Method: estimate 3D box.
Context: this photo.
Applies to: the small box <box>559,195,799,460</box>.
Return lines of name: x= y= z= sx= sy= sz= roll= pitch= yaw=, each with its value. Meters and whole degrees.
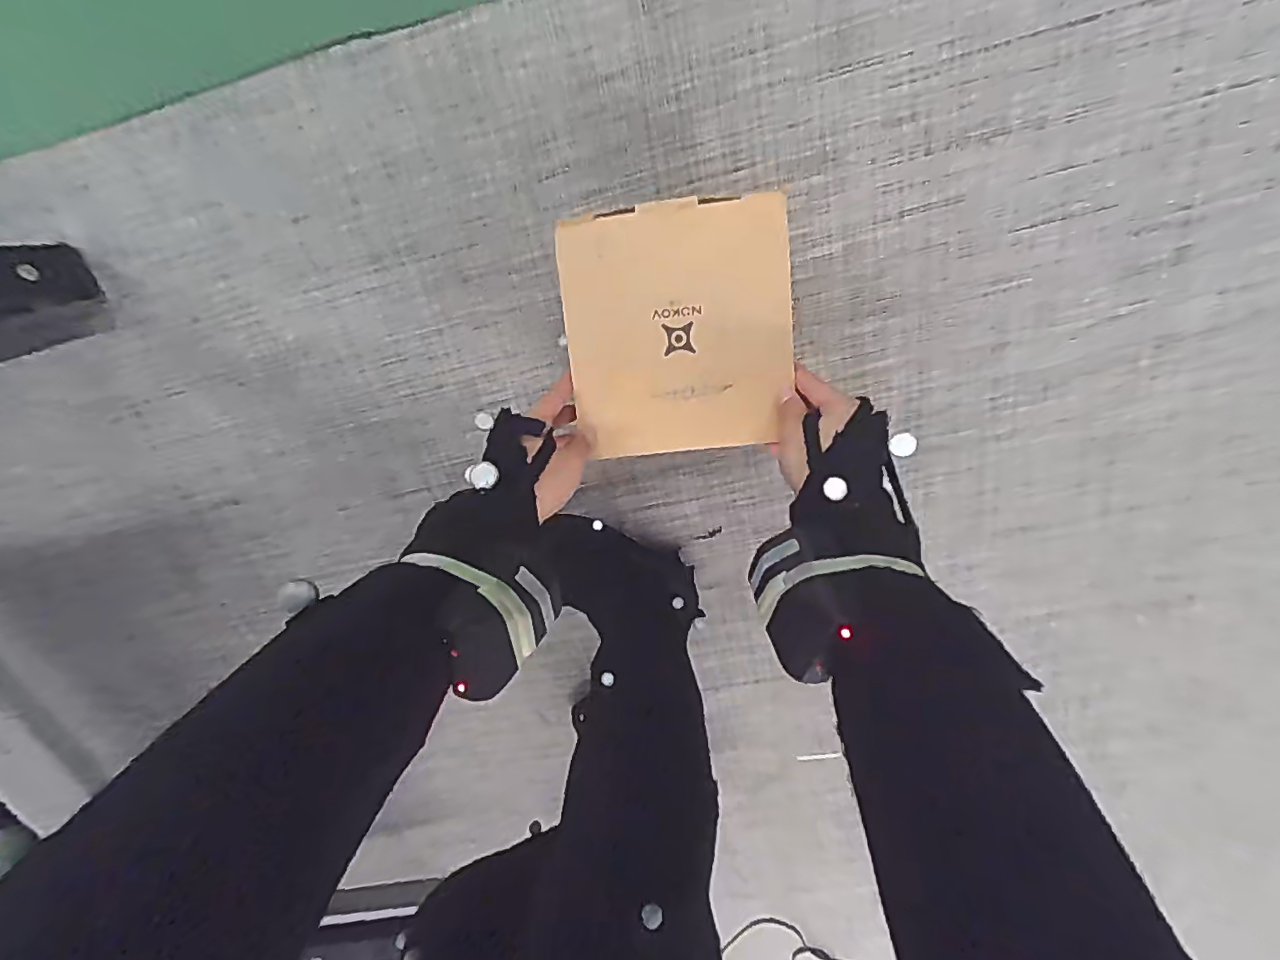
small box: x=0.035 y=-0.122 z=0.472 sx=0.168 sy=0.176 sz=0.179 roll=-6 pitch=102 yaw=5
